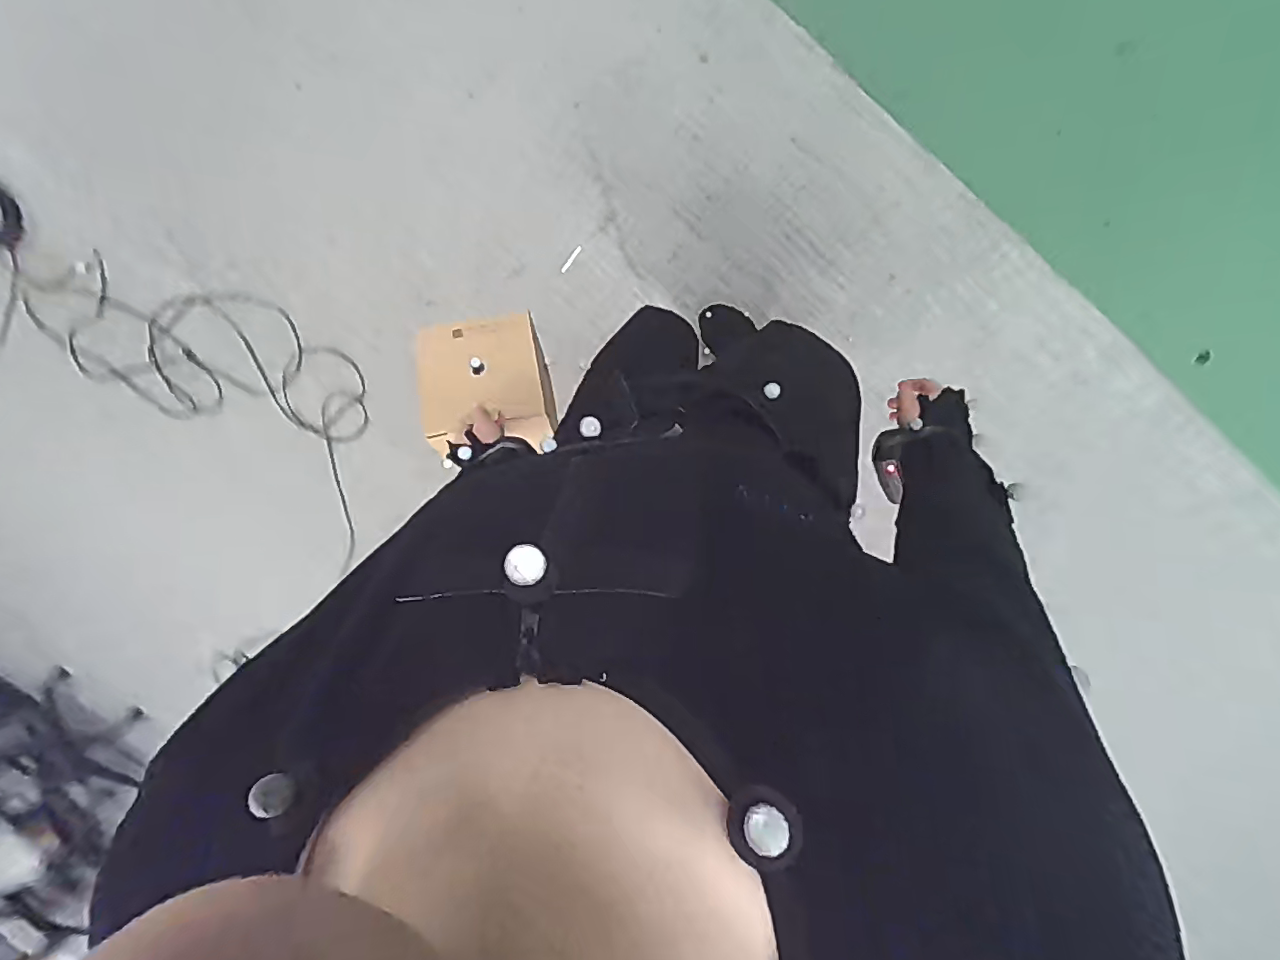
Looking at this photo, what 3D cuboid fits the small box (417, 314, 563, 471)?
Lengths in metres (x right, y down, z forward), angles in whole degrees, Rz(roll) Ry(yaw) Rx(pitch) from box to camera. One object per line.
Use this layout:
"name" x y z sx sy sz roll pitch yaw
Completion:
"small box" -0.222 -0.134 0.821 0.168 0.179 0.176 -12 74 -3
